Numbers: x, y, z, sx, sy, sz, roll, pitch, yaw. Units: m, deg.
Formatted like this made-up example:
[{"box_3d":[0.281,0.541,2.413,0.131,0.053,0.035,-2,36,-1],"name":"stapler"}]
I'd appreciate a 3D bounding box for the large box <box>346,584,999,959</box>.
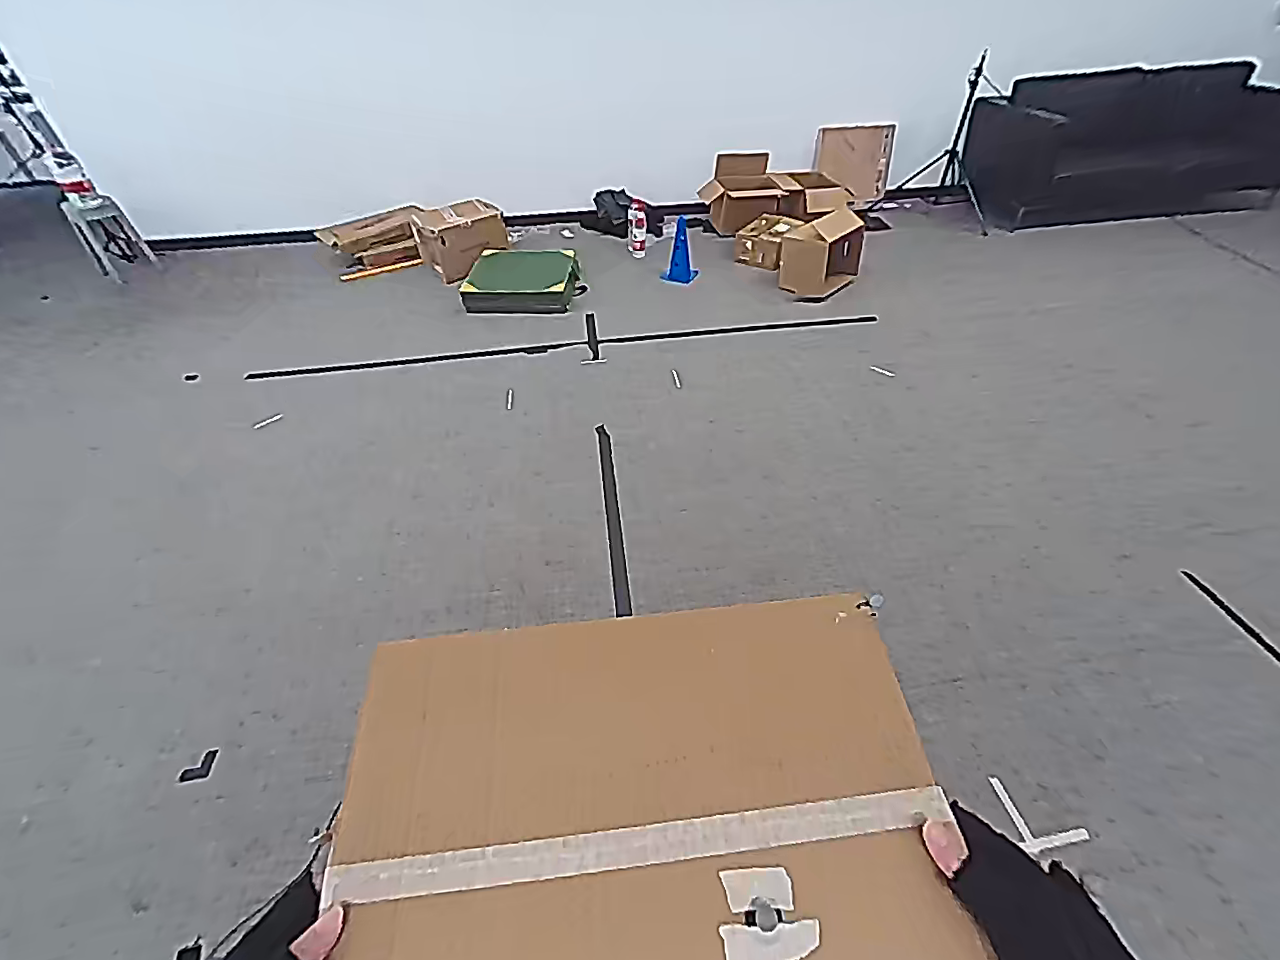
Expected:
[{"box_3d":[0.010,0.326,0.492,0.408,0.320,0.320,-6,54,-3],"name":"large box"}]
